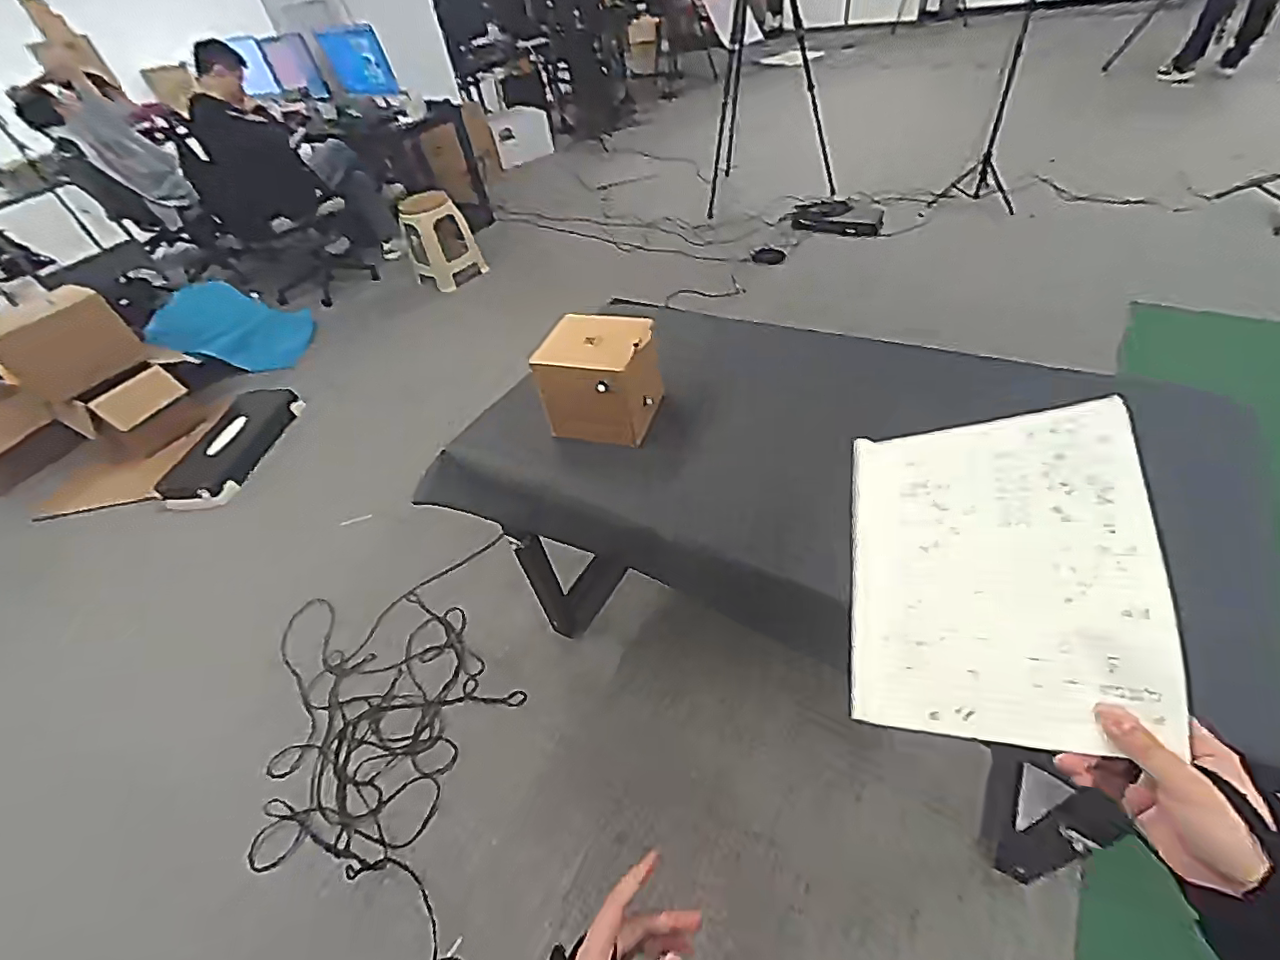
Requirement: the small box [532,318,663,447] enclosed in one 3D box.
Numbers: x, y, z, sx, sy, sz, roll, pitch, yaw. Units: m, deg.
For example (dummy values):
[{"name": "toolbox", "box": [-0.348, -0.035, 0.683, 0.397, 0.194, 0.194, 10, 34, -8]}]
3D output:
[{"name": "small box", "box": [-0.068, -0.178, 0.993, 0.179, 0.176, 0.168, 9, 47, 18]}]
